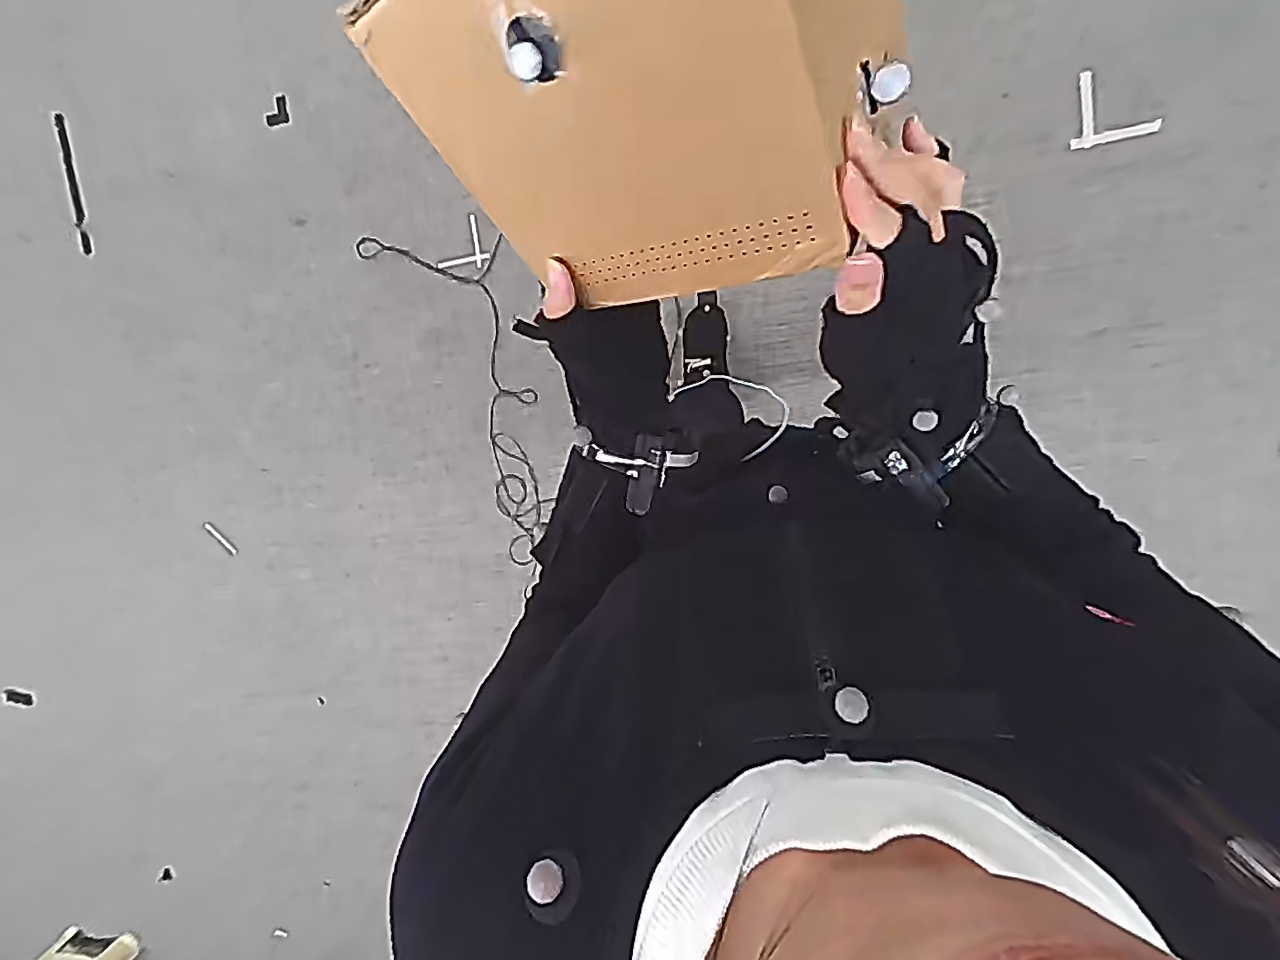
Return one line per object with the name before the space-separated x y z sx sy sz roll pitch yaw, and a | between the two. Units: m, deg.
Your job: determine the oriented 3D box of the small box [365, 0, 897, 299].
small box | 0.012 -0.214 0.276 0.179 0.176 0.168 6 63 37
